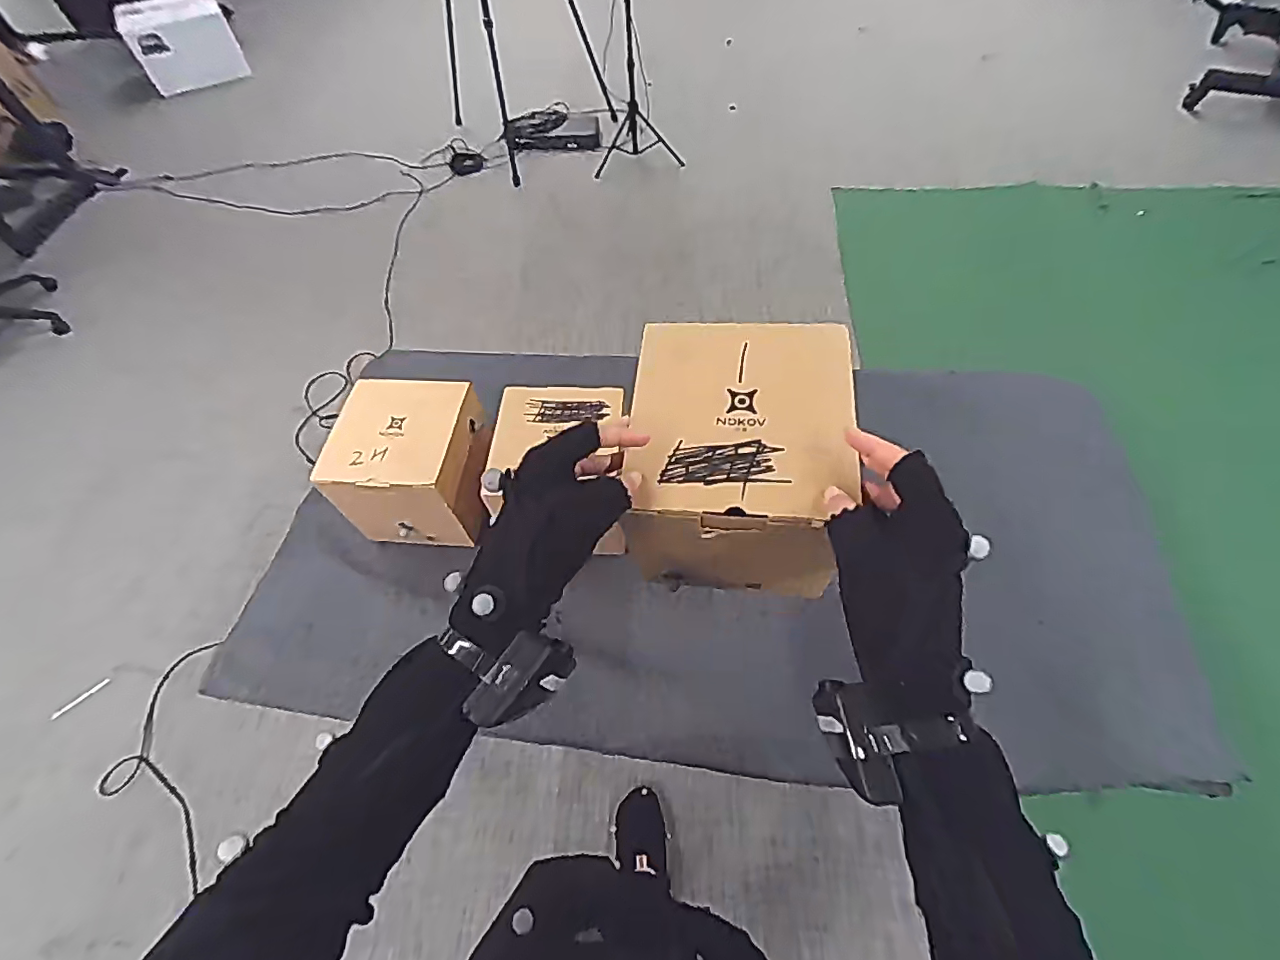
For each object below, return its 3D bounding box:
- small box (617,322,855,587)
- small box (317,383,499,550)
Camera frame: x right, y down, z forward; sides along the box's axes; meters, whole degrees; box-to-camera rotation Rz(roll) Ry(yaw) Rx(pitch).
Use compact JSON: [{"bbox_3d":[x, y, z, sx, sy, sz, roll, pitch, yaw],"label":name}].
[{"bbox_3d":[0.085,-0.015,0.476,0.168,0.176,0.179,3,61,10],"label":"small box"},{"bbox_3d":[-0.315,-0.018,0.781,0.168,0.176,0.179,2,57,5],"label":"small box"}]
